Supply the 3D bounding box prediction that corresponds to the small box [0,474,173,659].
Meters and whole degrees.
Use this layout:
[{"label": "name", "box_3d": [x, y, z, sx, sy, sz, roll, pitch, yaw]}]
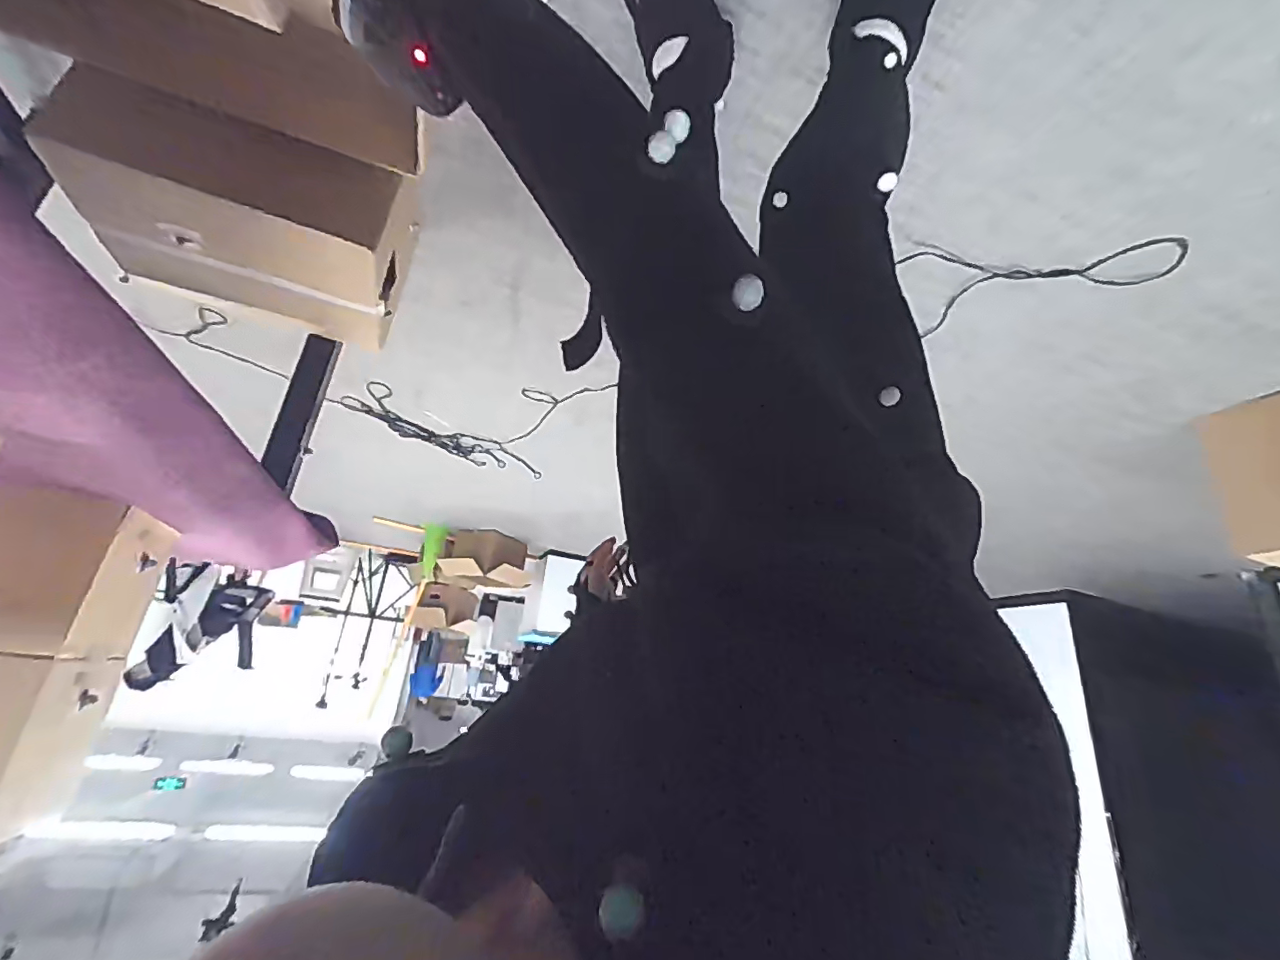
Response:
[{"label": "small box", "box_3d": [-0.672, 0.096, 0.591, 0.179, 0.176, 0.168, 14, 157, -20]}]
